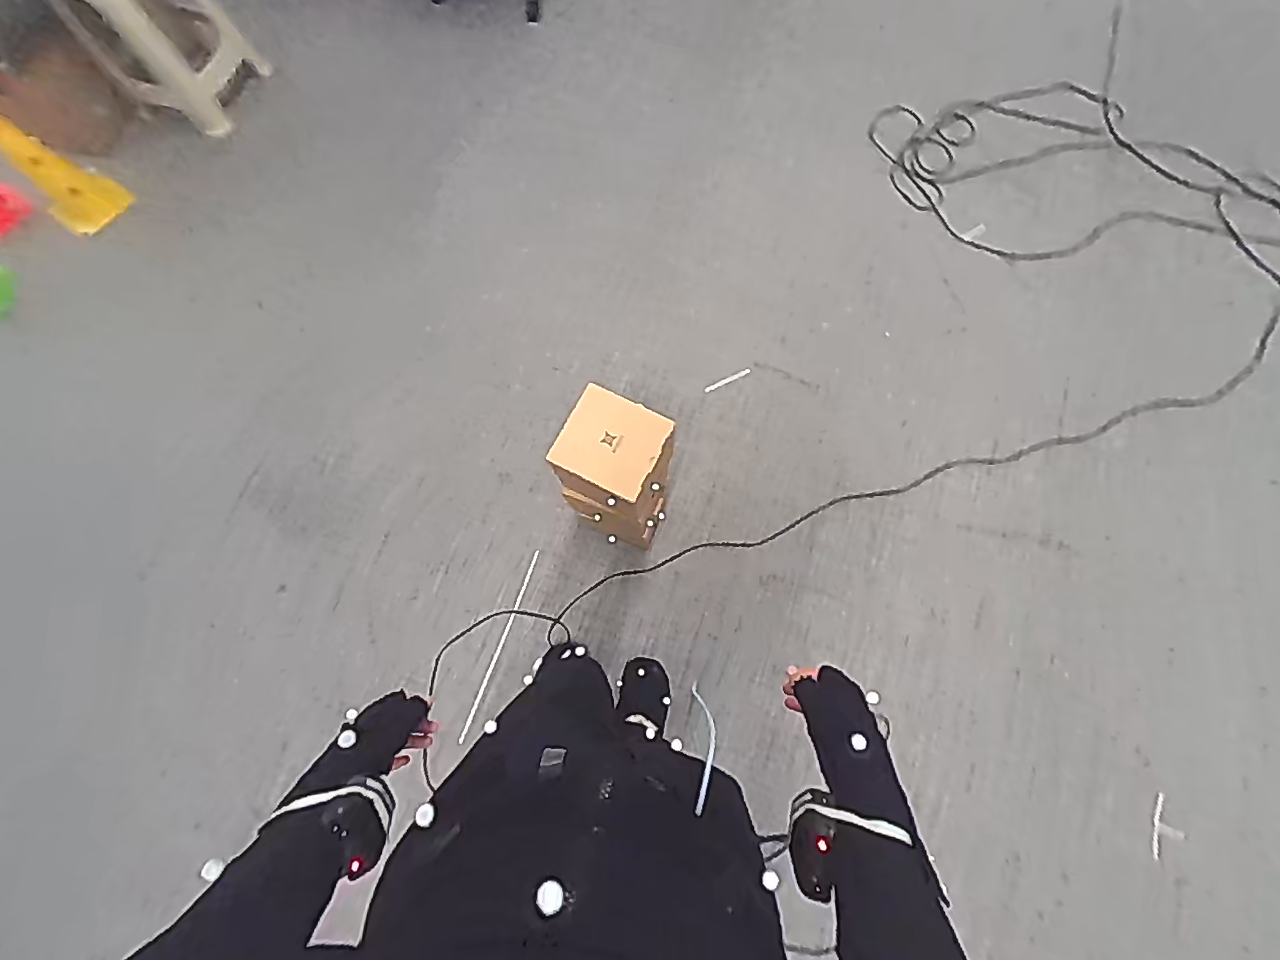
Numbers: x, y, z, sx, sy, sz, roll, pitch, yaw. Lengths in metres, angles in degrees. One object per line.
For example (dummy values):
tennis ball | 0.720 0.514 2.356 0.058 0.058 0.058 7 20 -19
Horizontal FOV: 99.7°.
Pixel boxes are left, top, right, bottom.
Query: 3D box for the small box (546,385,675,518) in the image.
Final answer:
small box | -0.049 -0.044 1.017 0.179 0.176 0.168 26 77 7

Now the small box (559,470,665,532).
small box | -0.050 0.005 1.172 0.179 0.176 0.168 21 77 8

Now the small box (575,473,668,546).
small box | -0.043 0.054 1.331 0.179 0.176 0.168 18 73 5
